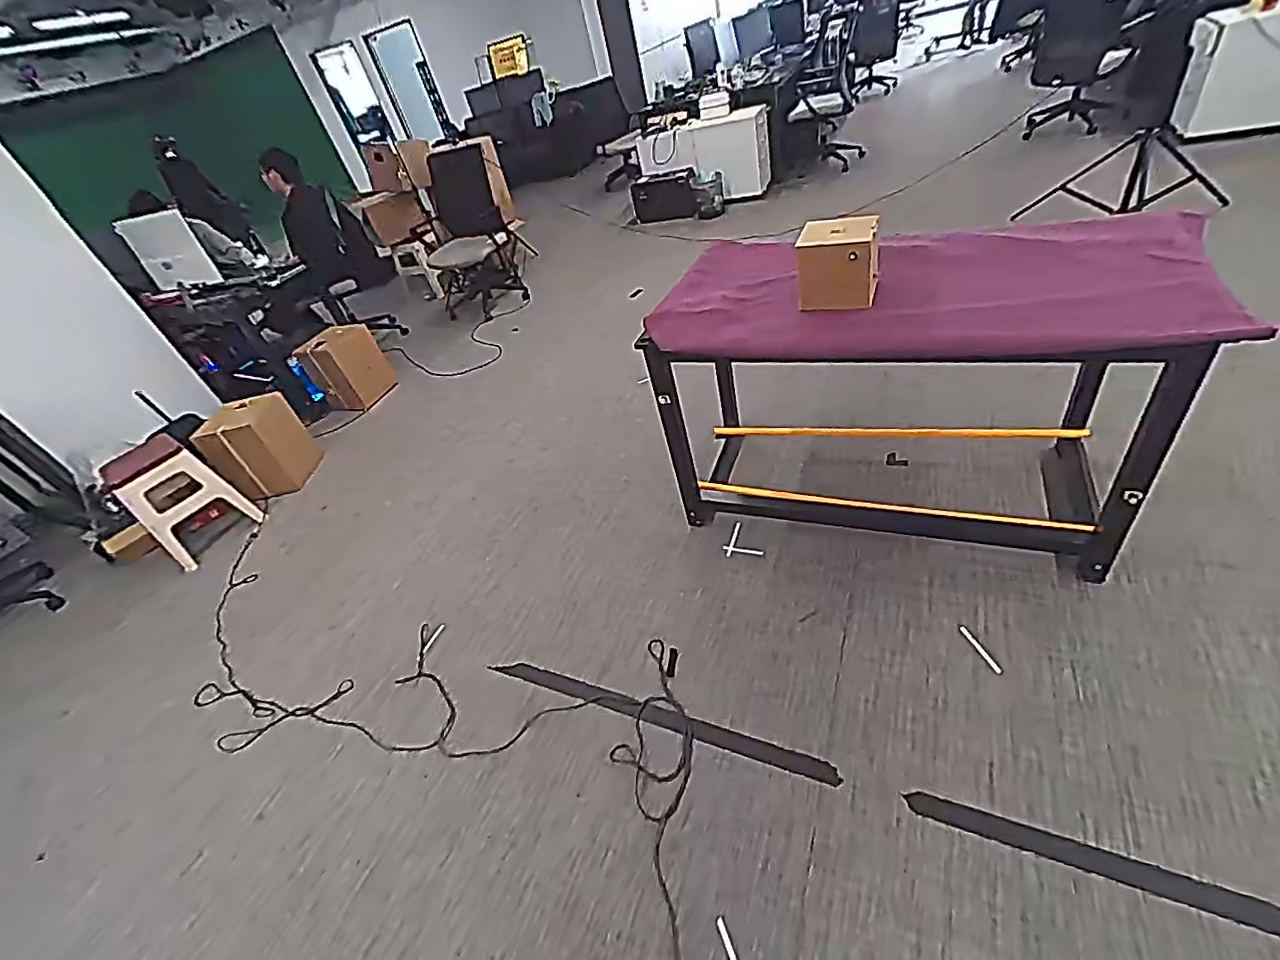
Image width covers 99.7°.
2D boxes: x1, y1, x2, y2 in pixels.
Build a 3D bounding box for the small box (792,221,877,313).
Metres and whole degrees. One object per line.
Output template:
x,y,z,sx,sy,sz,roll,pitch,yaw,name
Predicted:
0.494,-0.536,1.371,0.179,0.176,0.168,7,45,25,small box
